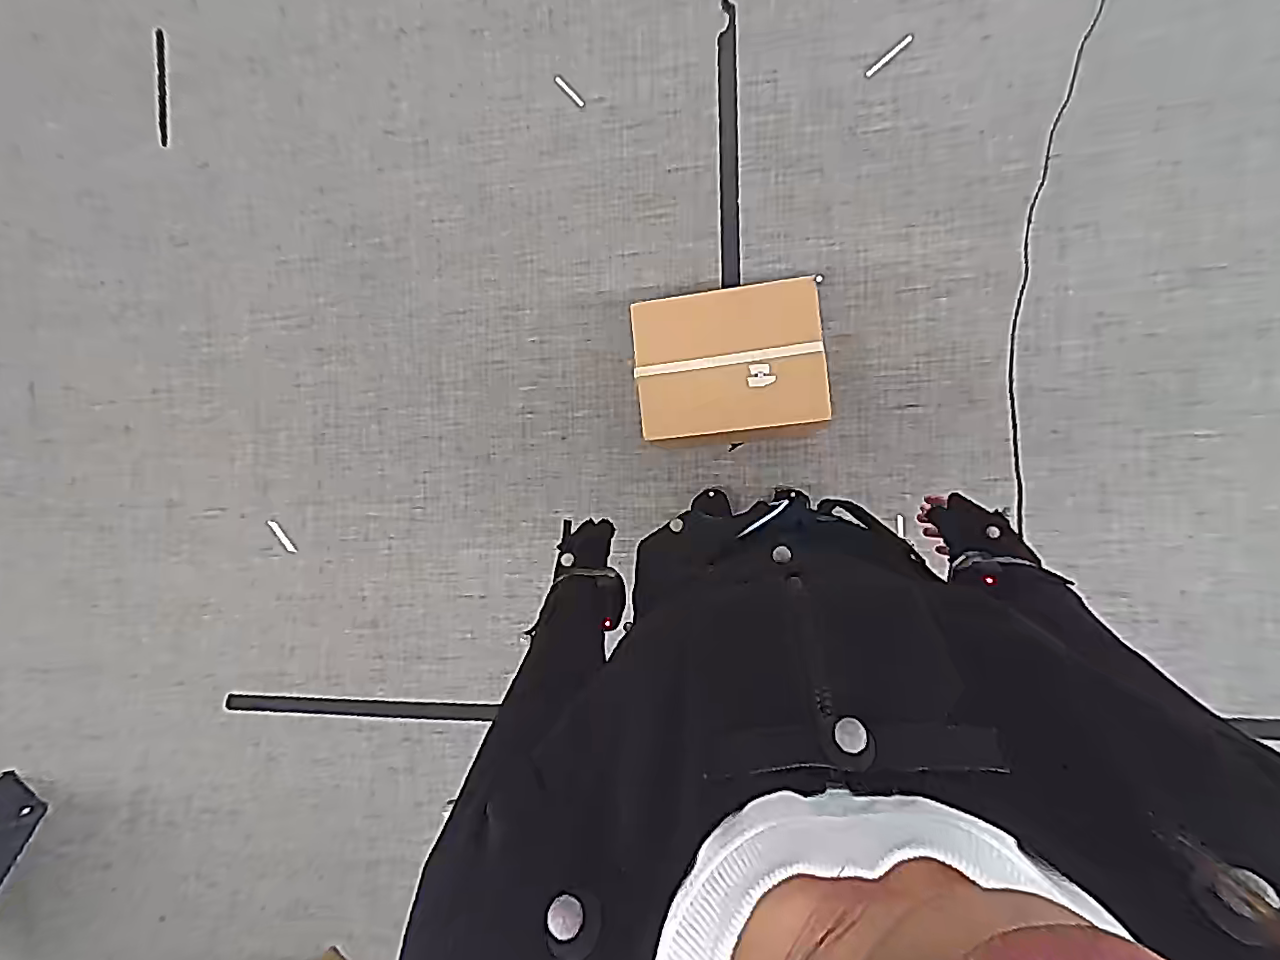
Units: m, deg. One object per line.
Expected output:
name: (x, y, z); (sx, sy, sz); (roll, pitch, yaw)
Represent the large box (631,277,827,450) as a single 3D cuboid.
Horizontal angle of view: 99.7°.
large box: (0.213, -0.261, 1.337); (0.408, 0.320, 0.320); (-6, 88, 9)
